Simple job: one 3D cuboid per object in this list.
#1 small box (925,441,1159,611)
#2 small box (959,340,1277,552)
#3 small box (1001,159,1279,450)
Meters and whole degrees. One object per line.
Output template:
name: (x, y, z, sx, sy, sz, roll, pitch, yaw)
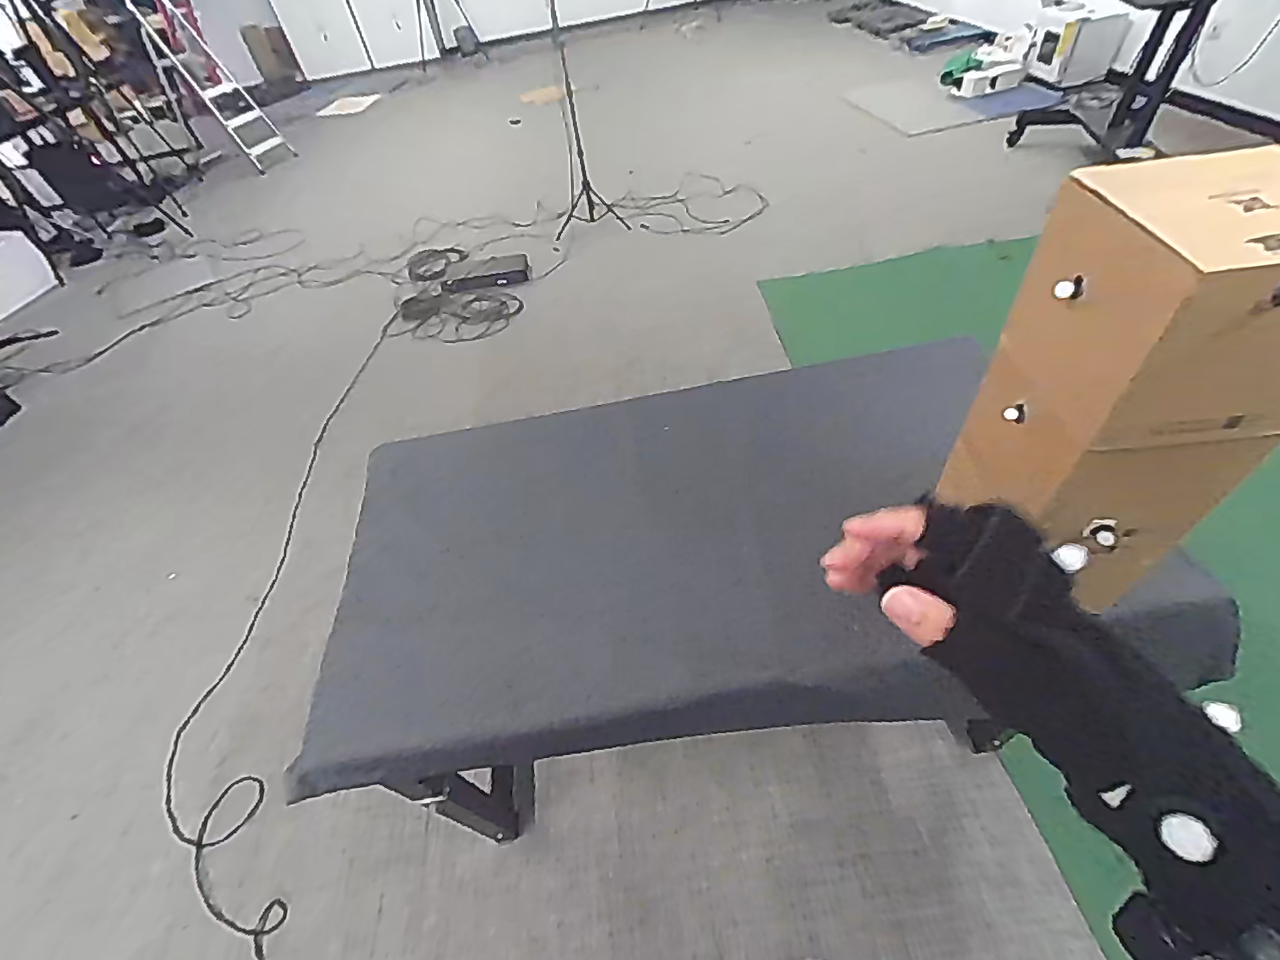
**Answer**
small box: (0.504, 0.061, 0.711, 0.168, 0.176, 0.179, -5, 47, 6)
small box: (0.481, -0.042, 0.589, 0.168, 0.176, 0.179, -5, 49, 7)
small box: (0.454, -0.148, 0.466, 0.168, 0.176, 0.179, -5, 47, 7)
